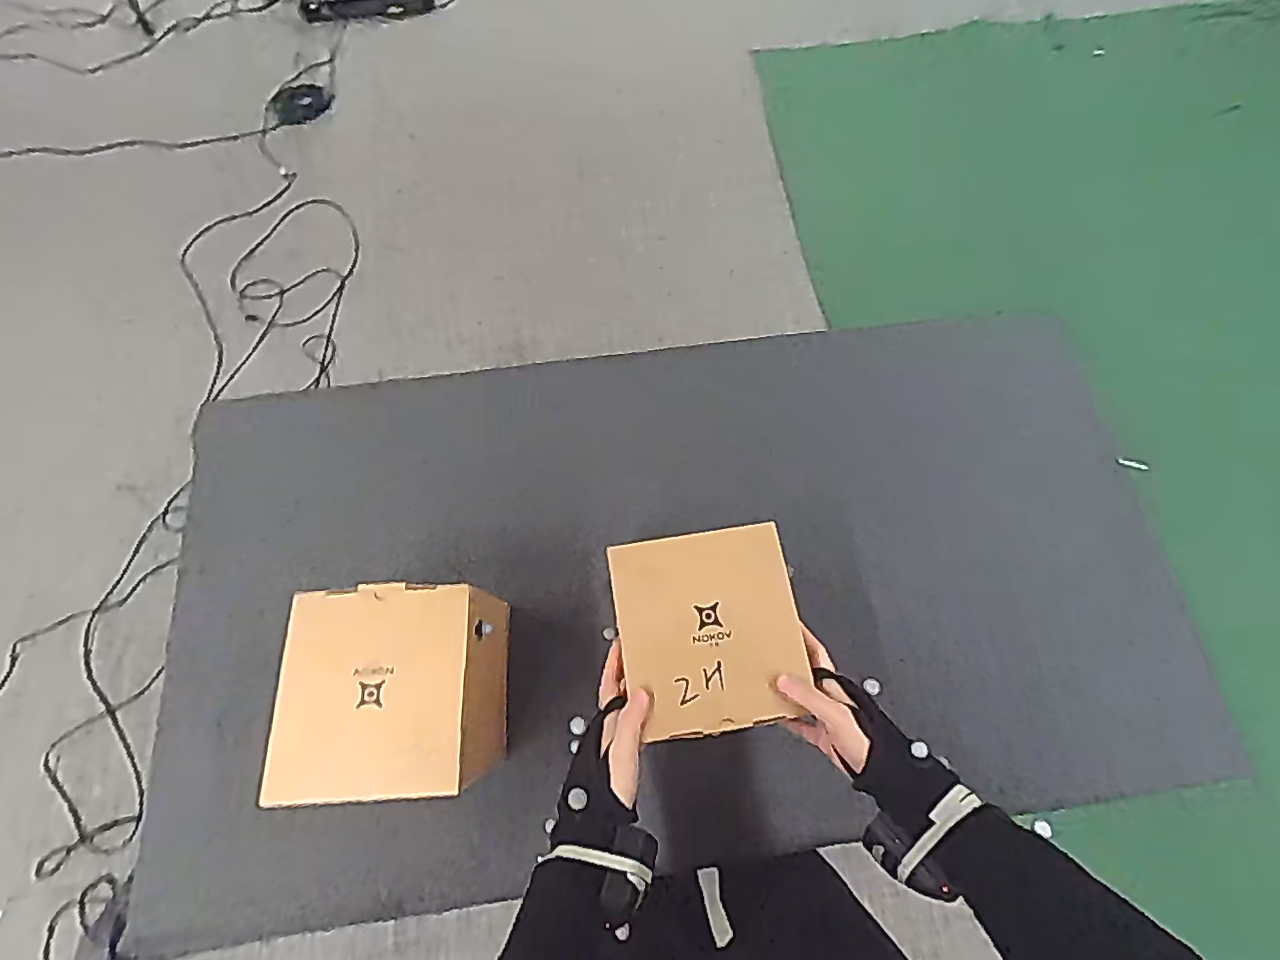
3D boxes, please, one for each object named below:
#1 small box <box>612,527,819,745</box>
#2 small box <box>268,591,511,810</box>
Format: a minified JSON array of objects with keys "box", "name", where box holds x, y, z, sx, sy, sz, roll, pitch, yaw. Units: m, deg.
[{"box":[0.064,0.164,0.569,0.168,0.176,0.179,-9,71,-2],"name":"small box"},{"box":[-0.233,0.216,0.553,0.168,0.176,0.179,-3,70,-1],"name":"small box"}]
